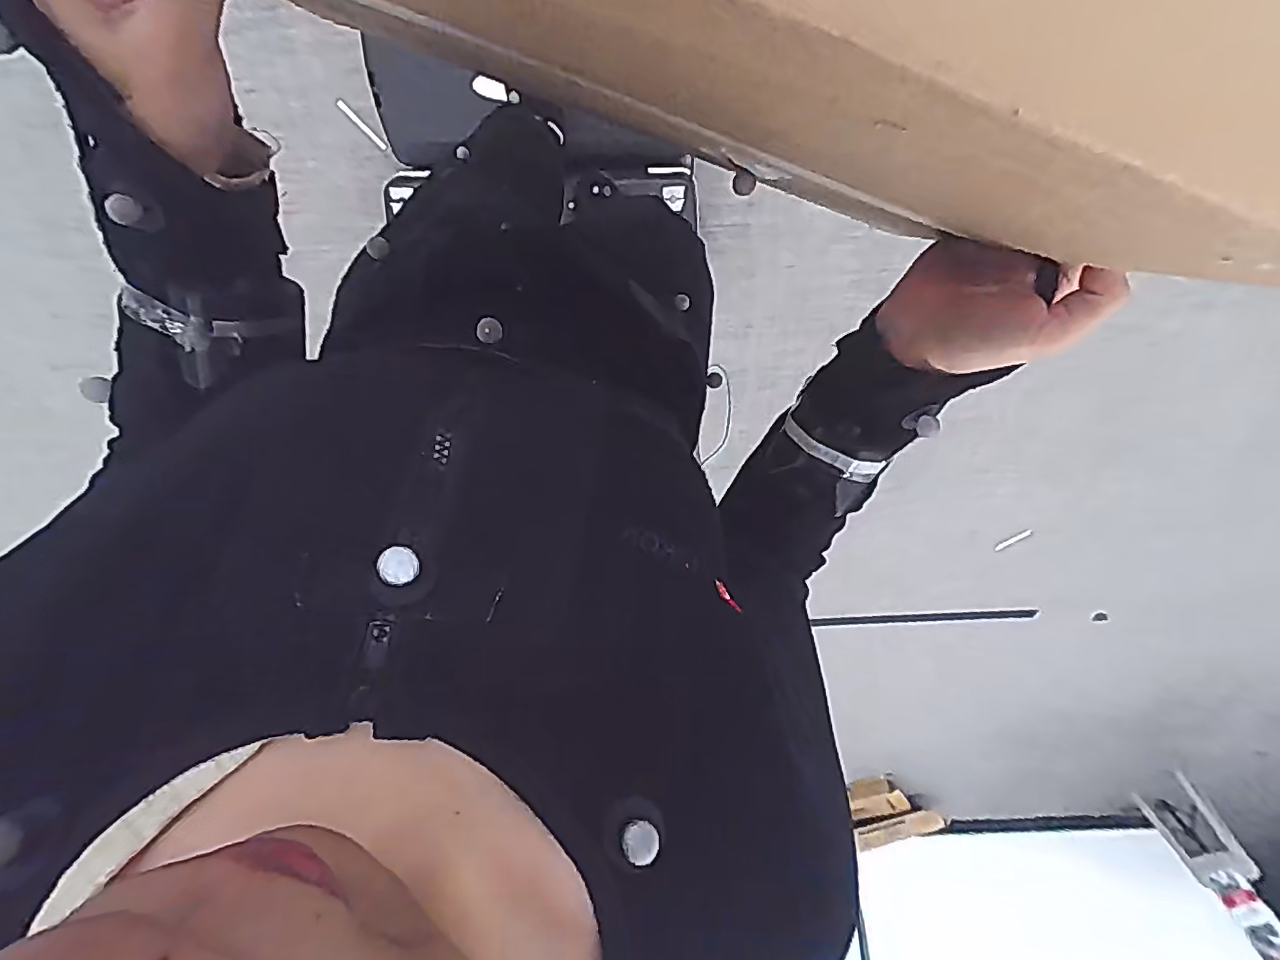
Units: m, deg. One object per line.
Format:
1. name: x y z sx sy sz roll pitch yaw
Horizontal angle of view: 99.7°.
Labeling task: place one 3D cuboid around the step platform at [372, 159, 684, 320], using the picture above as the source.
1. step platform: -0.240 -0.550 1.252 0.684 0.204 0.286 3 126 -2

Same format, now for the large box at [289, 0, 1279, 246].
1. large box: 0.033 -0.300 0.160 0.408 0.320 0.320 14 118 -9
